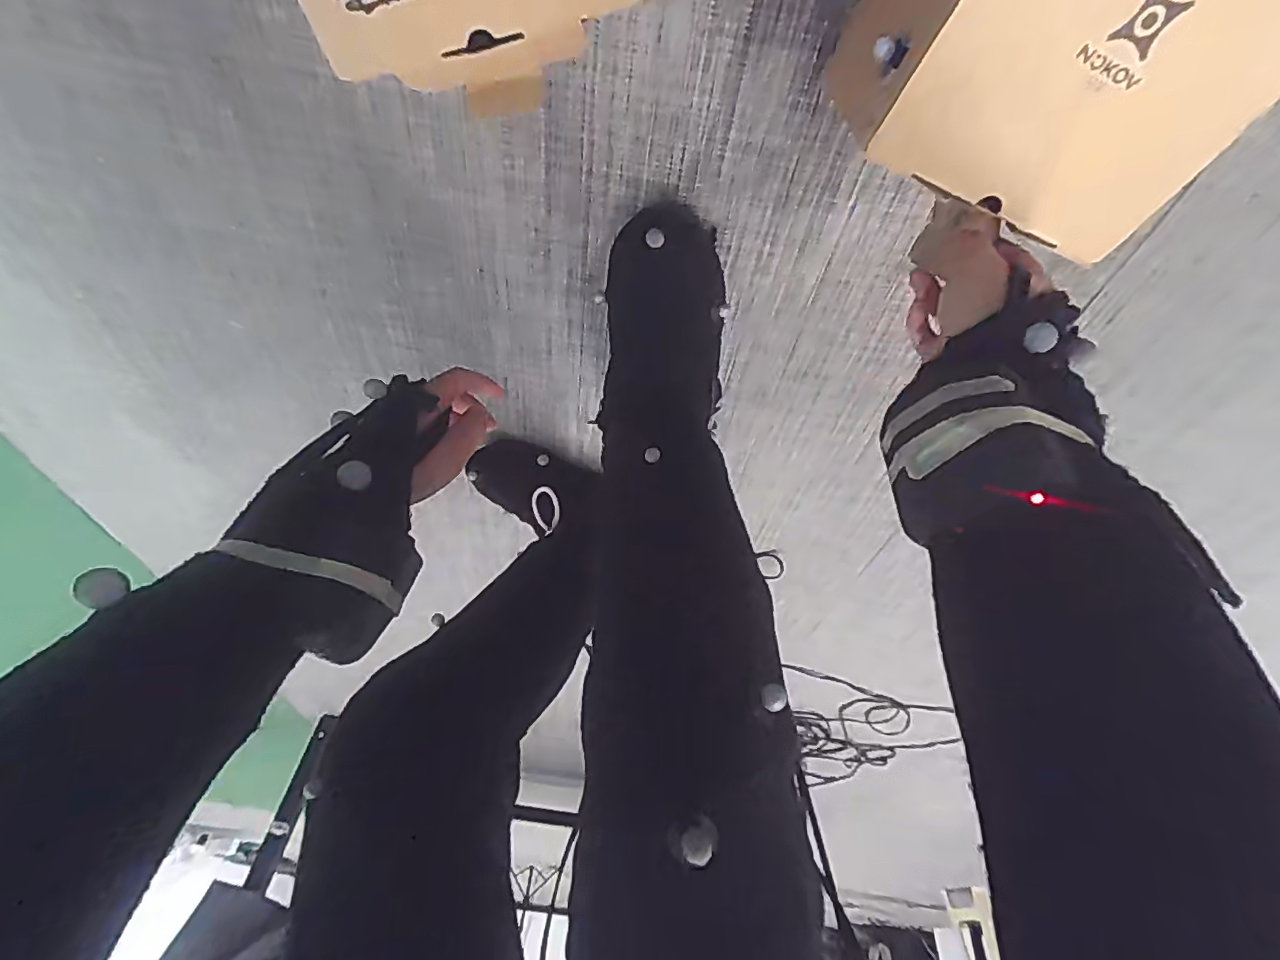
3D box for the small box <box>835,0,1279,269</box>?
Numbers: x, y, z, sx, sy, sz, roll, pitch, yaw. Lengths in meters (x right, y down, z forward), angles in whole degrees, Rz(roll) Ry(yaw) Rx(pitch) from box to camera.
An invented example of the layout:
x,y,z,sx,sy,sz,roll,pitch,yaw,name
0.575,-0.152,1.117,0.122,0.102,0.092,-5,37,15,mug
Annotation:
x,y,z,sx,sy,sz,roll,pitch,yaw,name
0.231,-0.260,0.300,0.168,0.176,0.179,17,137,-11,small box
